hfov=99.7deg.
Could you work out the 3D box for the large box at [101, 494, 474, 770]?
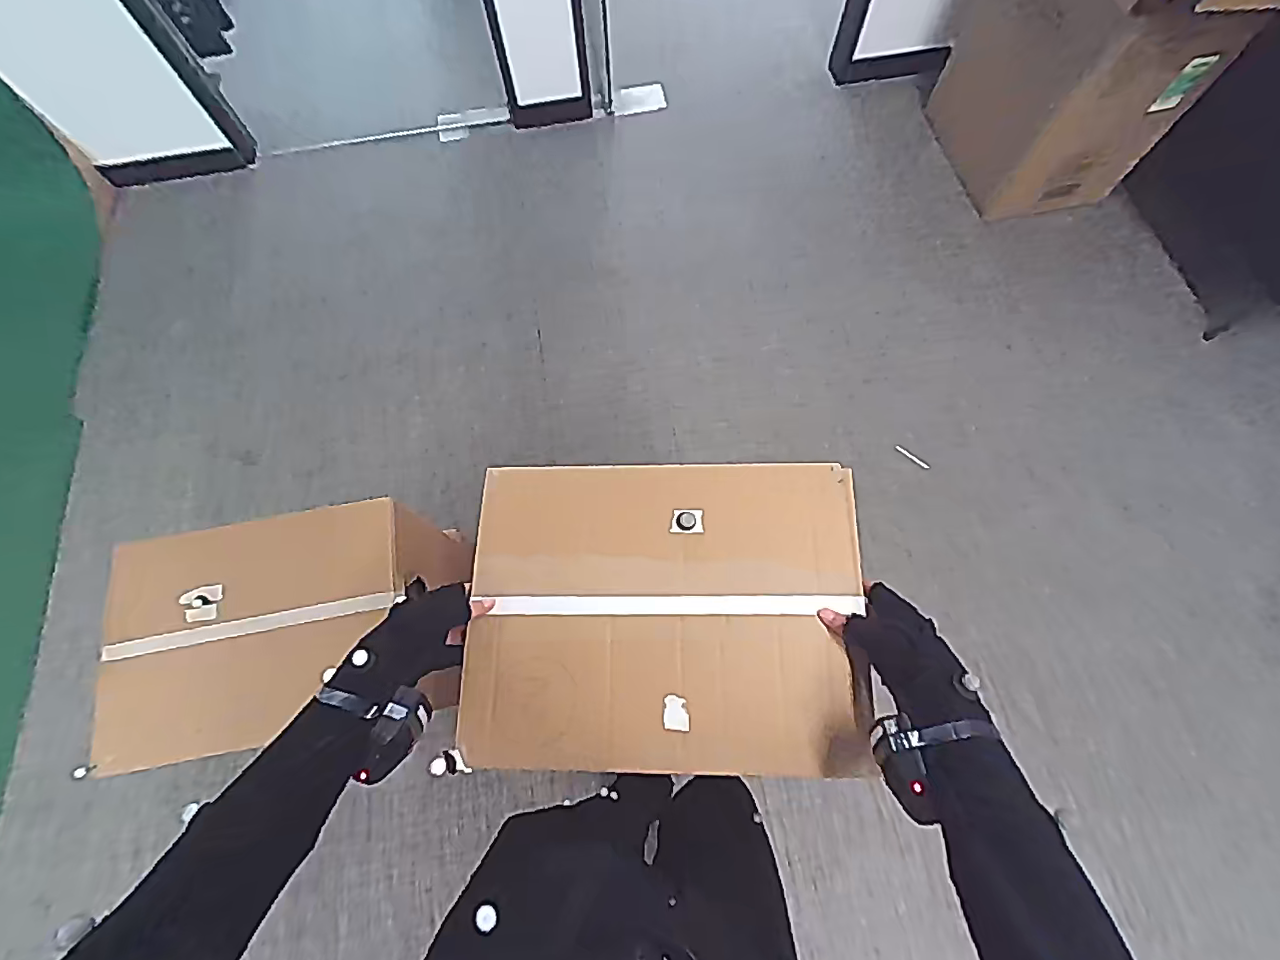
[{"bbox_3d":[-0.531,0.242,0.894,0.408,0.320,0.320,-10,72,-1],"label":"large box"}]
